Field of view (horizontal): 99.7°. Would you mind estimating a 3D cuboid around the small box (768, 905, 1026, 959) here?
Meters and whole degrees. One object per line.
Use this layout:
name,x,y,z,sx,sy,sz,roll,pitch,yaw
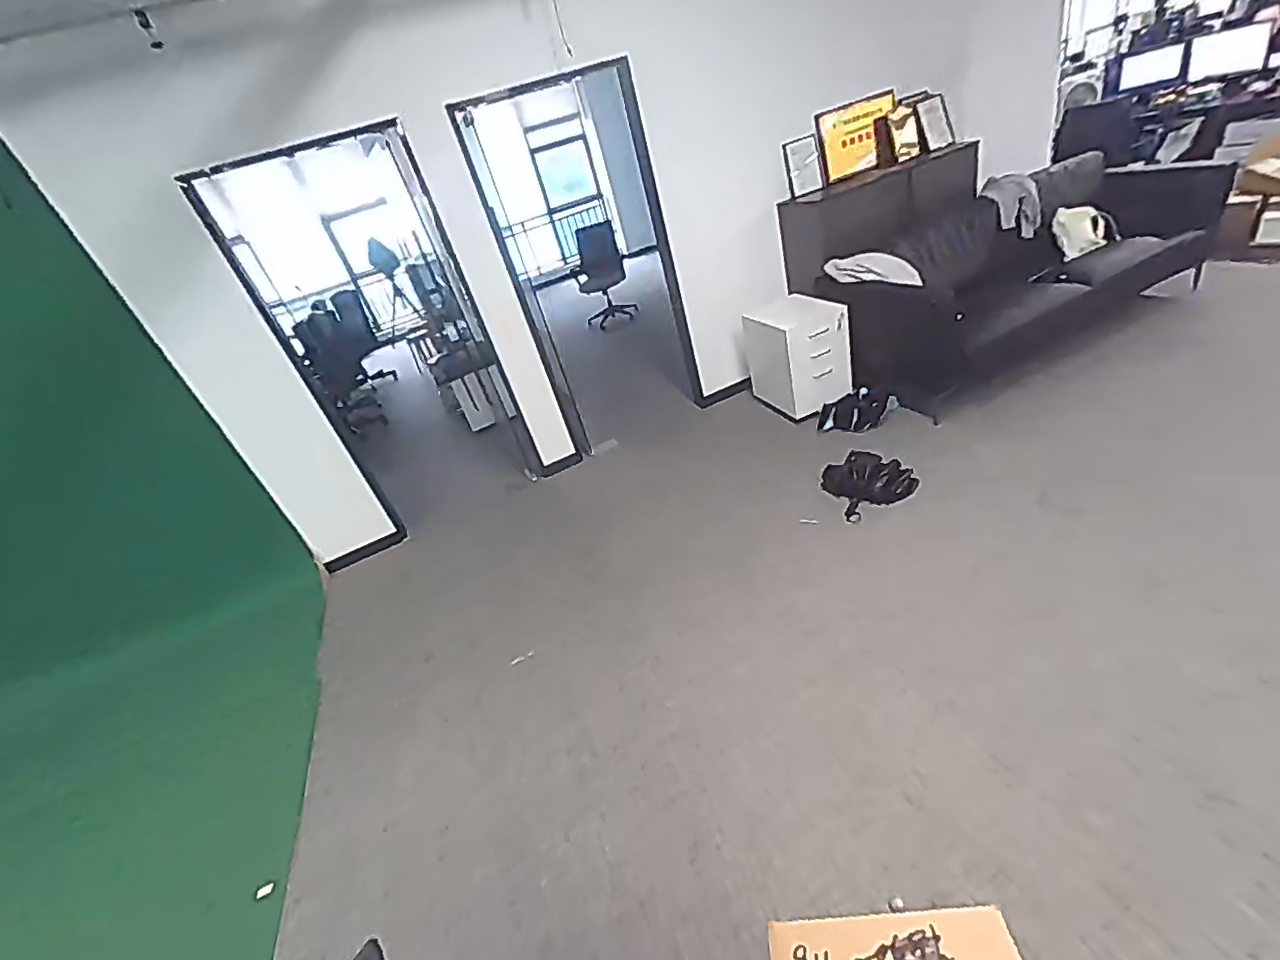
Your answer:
small box,0.190,0.422,0.366,0.168,0.176,0.179,-10,37,7
